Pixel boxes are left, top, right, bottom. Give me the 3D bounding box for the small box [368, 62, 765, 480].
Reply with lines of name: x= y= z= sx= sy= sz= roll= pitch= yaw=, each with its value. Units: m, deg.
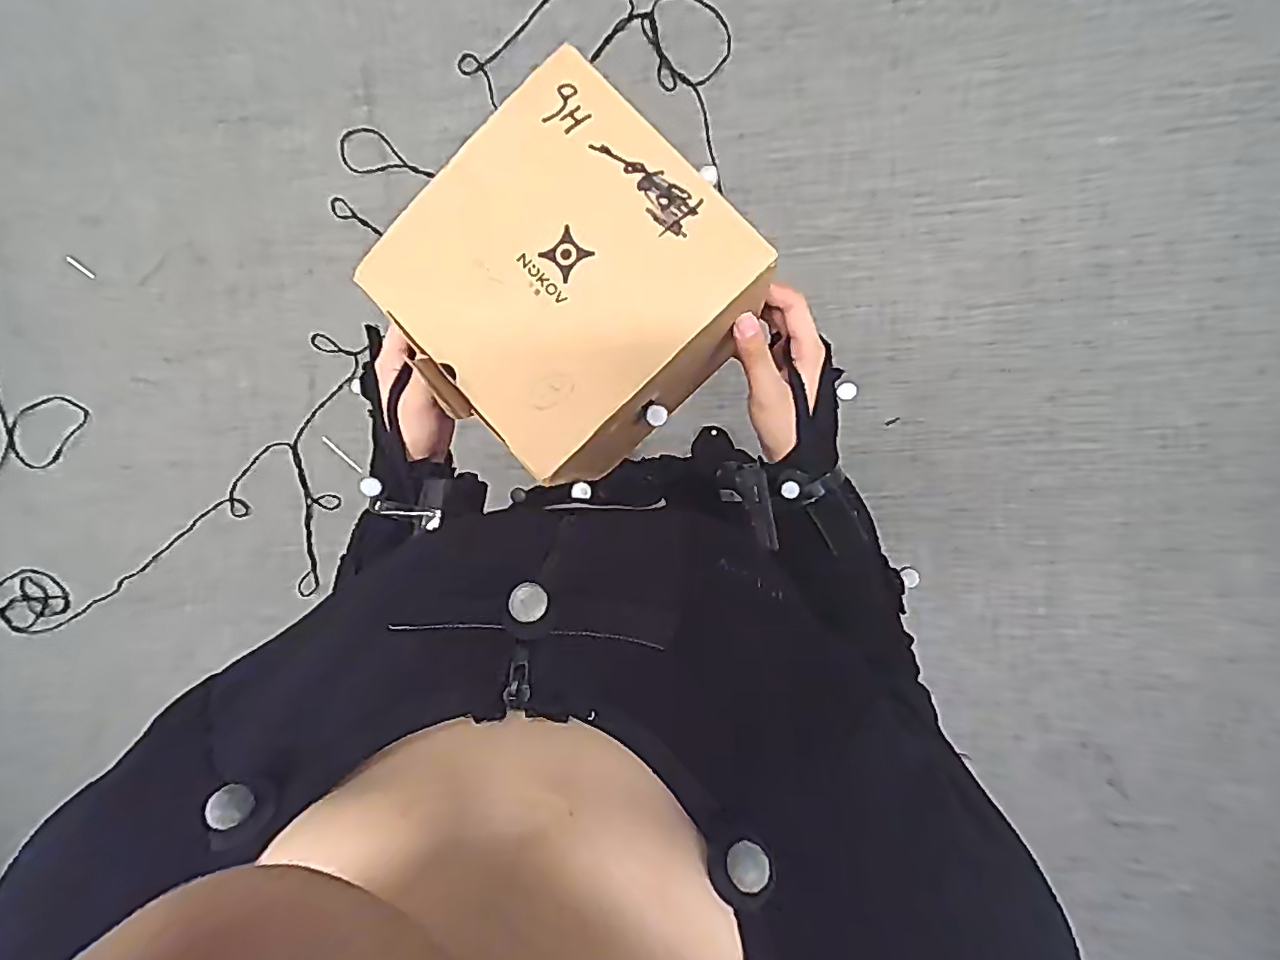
small box: x=-0.035 y=-0.116 z=0.381 sx=0.179 sy=0.176 sz=0.168 roll=-43 pitch=86 yaw=7
